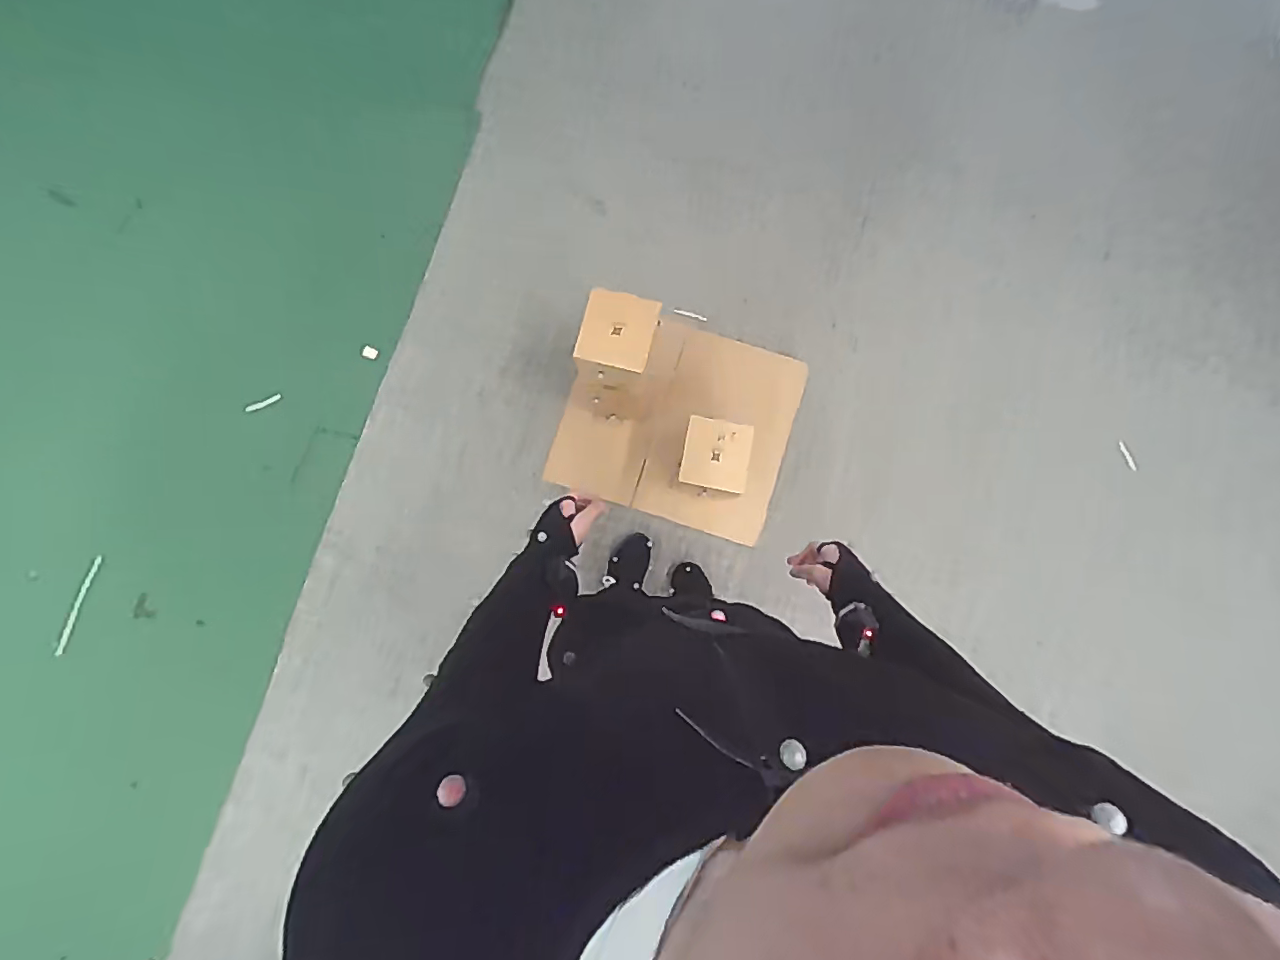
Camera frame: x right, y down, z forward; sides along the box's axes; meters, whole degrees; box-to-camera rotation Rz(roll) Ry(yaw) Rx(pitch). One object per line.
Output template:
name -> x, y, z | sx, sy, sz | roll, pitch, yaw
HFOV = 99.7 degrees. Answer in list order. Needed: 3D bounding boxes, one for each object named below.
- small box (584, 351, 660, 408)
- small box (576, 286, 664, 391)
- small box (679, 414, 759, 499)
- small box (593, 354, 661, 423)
small box -> -0.041, -0.306, 1.448 | 0.168, 0.176, 0.179 | 14, 83, 3
small box -> -0.040, -0.327, 1.287 | 0.168, 0.176, 0.179 | 14, 83, 4
small box -> 0.198, -0.053, 1.403 | 0.168, 0.176, 0.179 | 12, 83, 2
small box -> -0.036, -0.285, 1.609 | 0.168, 0.176, 0.179 | 11, 83, 3
